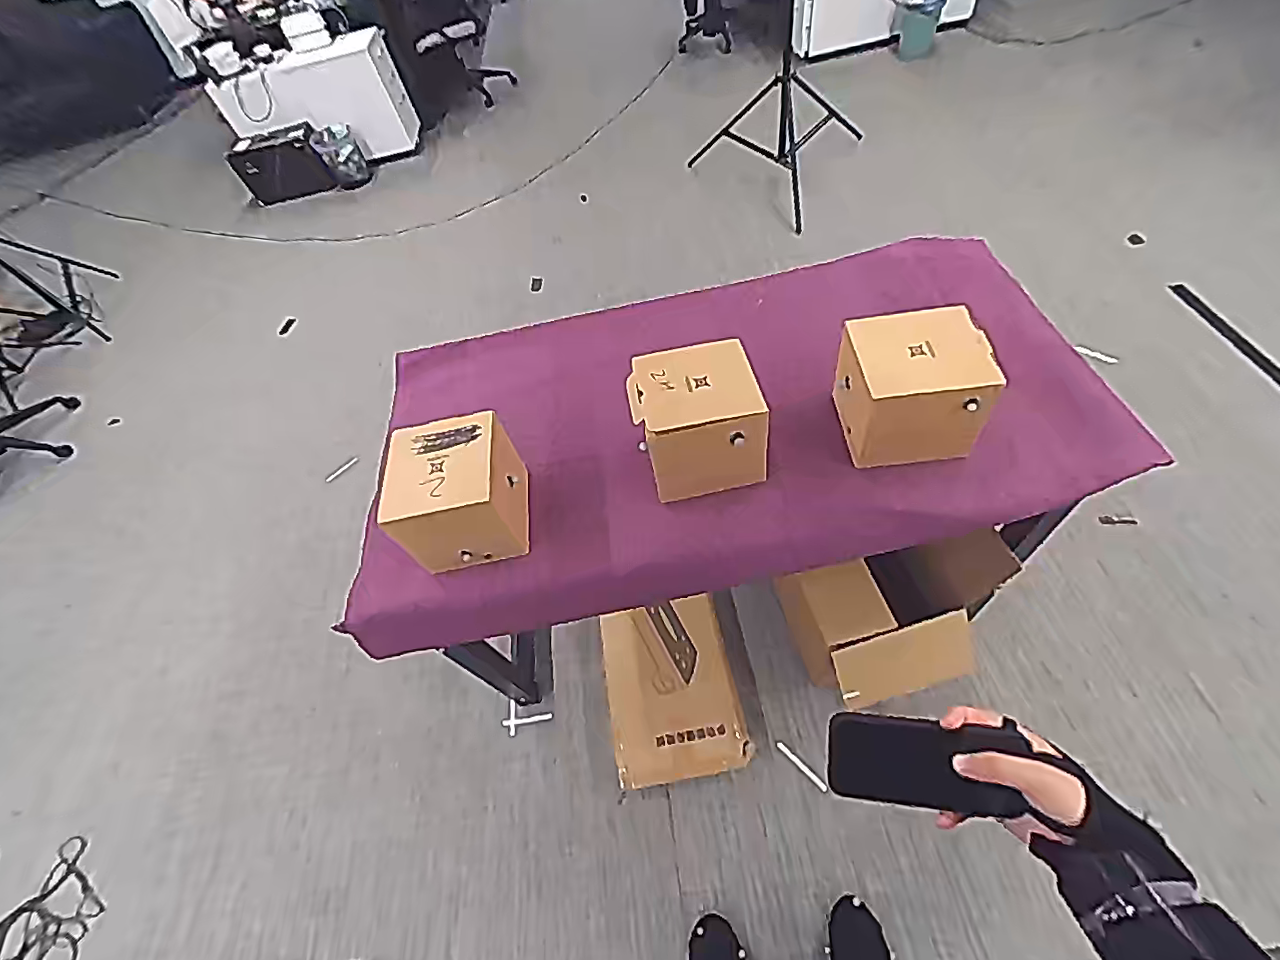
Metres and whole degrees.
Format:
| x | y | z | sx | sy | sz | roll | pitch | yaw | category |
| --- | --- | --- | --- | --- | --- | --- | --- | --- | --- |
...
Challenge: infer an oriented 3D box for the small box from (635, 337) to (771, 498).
| x | y | z | sx | sy | sz | roll | pitch | yaw | category |
| --- | --- | --- | --- | --- | --- | --- | --- | --- | --- |
| 0.098 | -0.094 | 0.857 | 0.179 | 0.176 | 0.168 | -12 | 52 | 3 | small box |

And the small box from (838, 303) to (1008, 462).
| x | y | z | sx | sy | sz | roll | pitch | yaw | category |
| --- | --- | --- | --- | --- | --- | --- | --- | --- | --- |
| 0.412 | -0.142 | 0.830 | 0.179 | 0.176 | 0.168 | -6 | 55 | 7 | small box |
